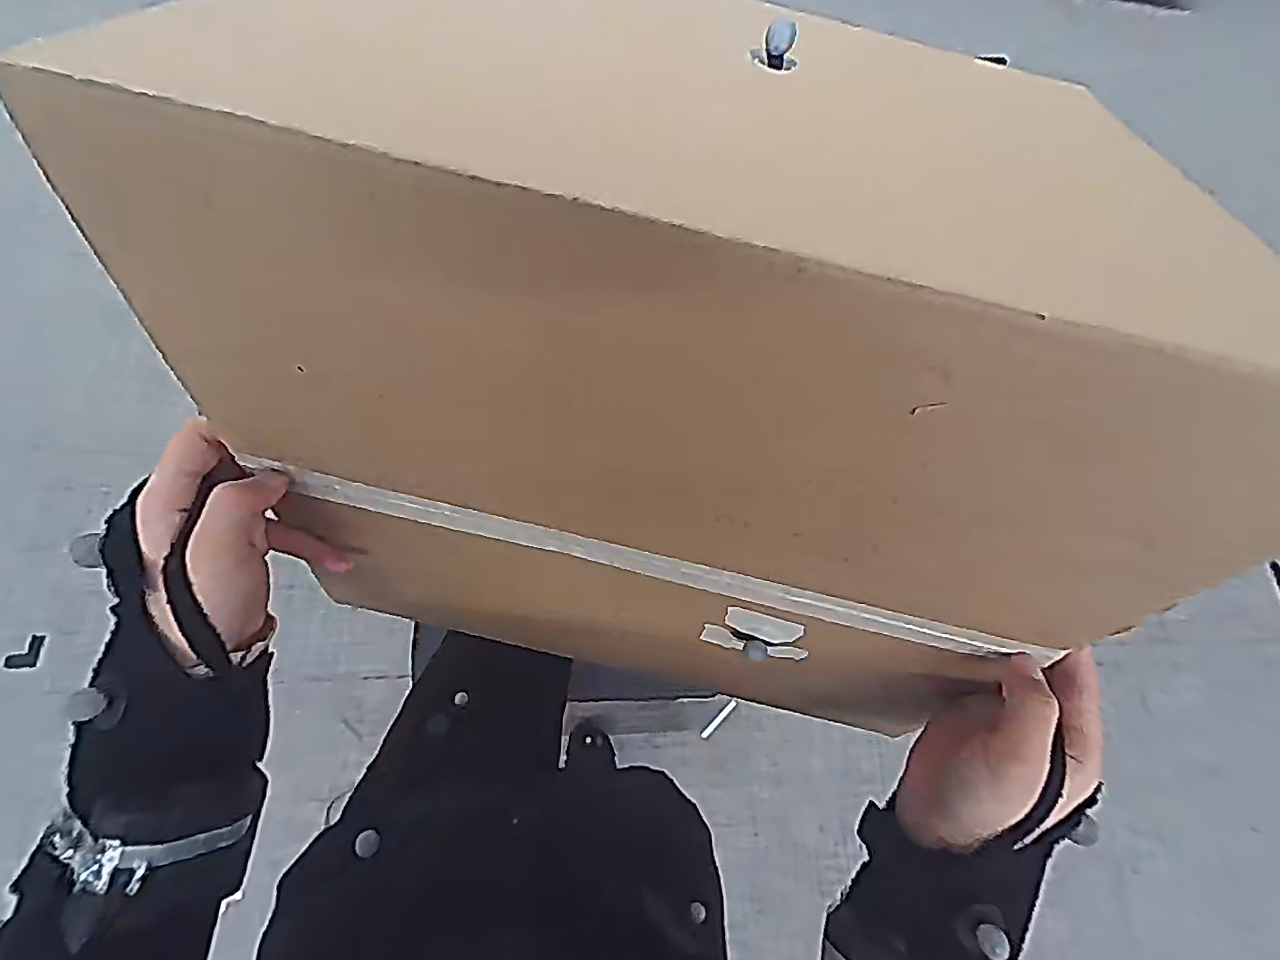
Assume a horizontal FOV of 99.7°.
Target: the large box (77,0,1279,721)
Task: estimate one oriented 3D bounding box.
[{"bbox_3d":[0.030,-0.077,0.363,0.408,0.320,0.320,13,52,0],"label":"large box"}]
